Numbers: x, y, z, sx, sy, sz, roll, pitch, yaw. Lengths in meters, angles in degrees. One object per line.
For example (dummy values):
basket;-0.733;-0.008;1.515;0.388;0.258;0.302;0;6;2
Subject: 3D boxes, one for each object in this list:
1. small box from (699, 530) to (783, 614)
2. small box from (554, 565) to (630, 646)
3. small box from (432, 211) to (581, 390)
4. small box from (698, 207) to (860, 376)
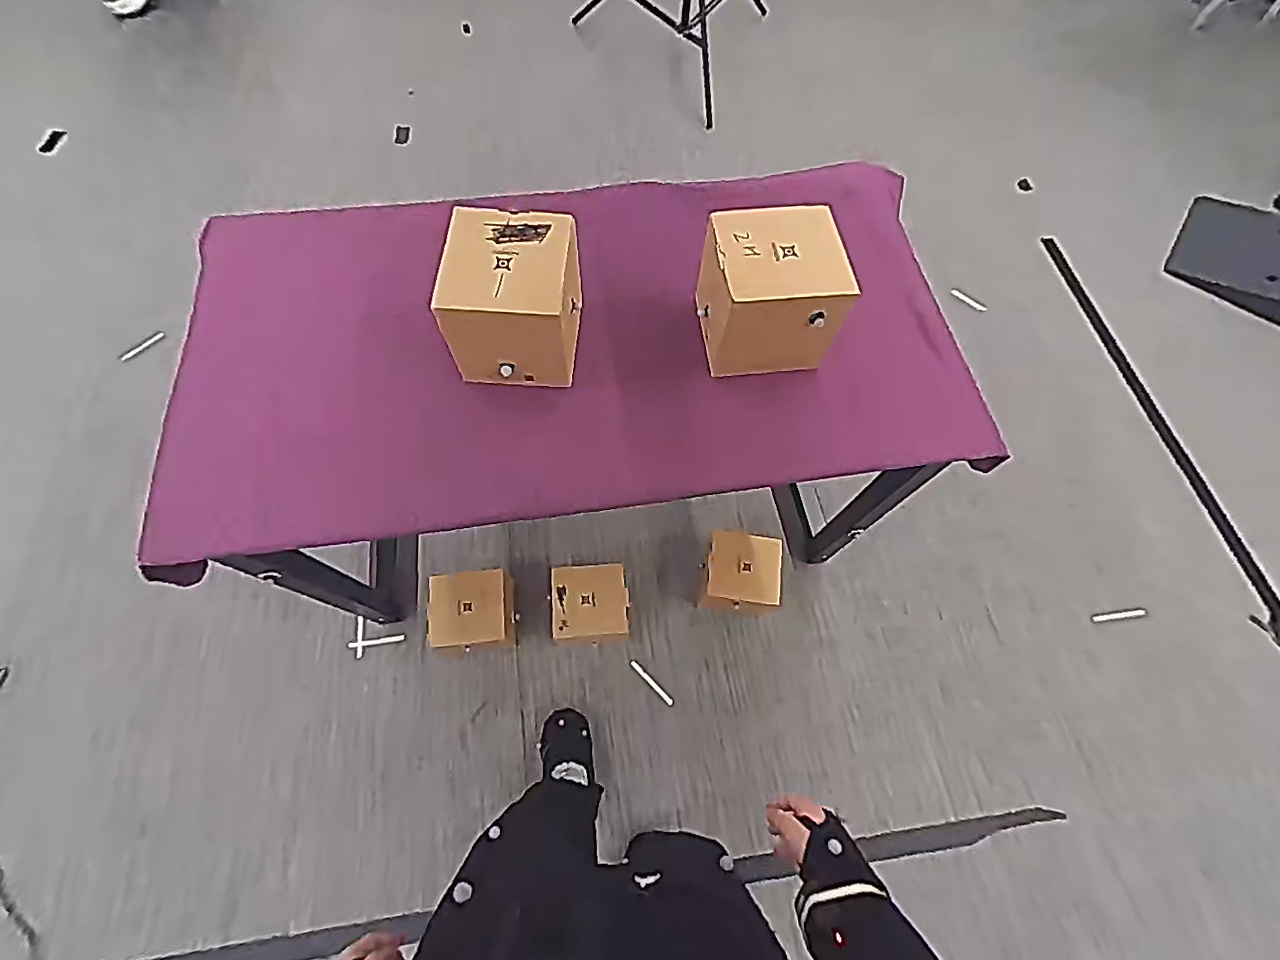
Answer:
small box;0.253;0.241;1.378;0.179;0.176;0.168;8;67;2
small box;-0.118;0.312;1.334;0.179;0.176;0.168;-3;67;-4
small box;-0.177;-0.253;0.782;0.168;0.176;0.179;3;67;0
small box;0.192;-0.272;0.801;0.179;0.176;0.168;-6;66;-4
